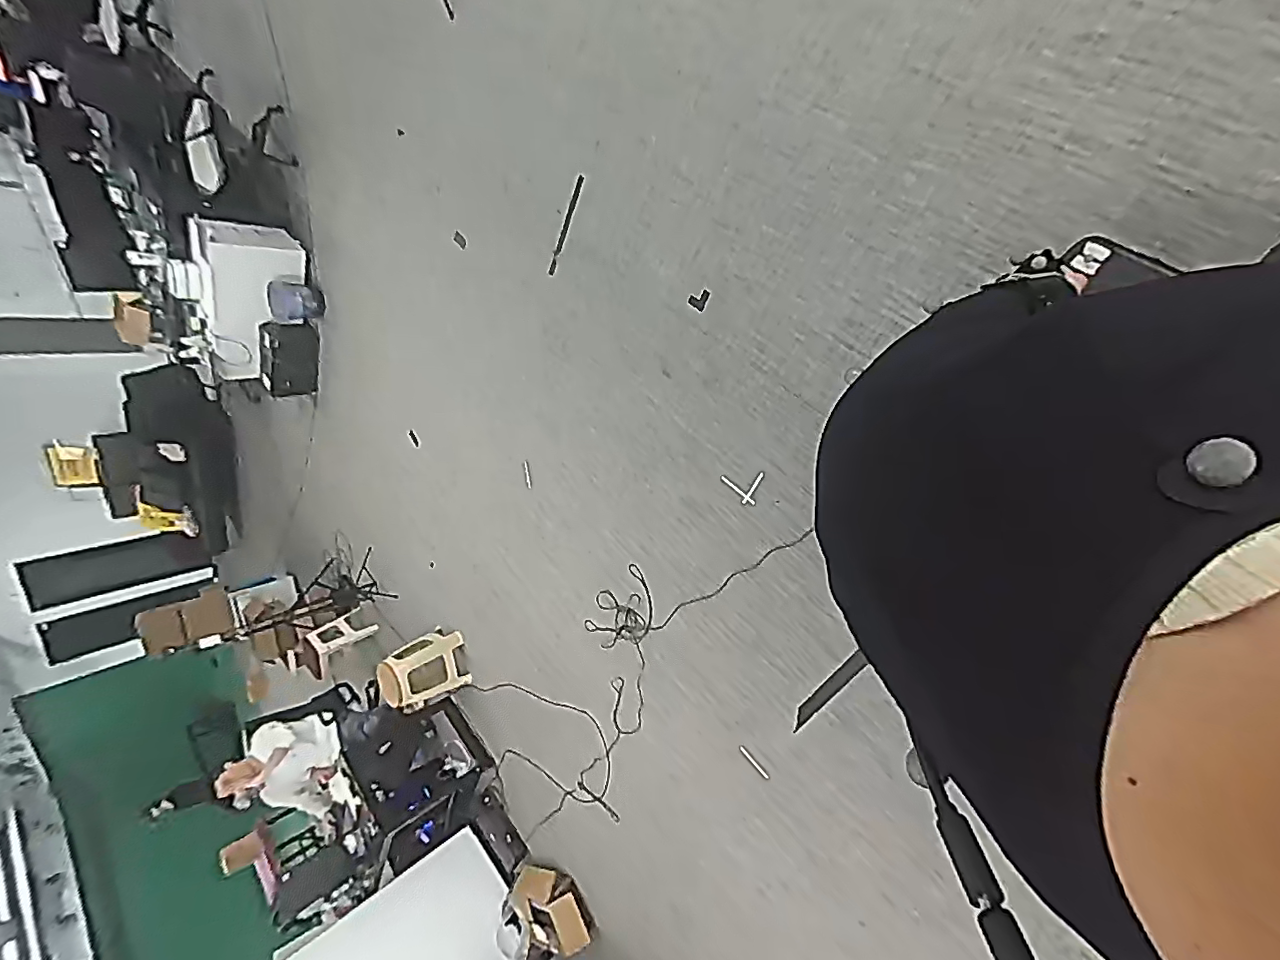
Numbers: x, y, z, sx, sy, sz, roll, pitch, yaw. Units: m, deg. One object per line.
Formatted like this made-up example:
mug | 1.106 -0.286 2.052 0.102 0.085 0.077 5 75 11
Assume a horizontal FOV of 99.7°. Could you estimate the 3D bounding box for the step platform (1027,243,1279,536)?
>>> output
step platform | 1.110 -0.146 0.998 0.684 0.204 0.286 48 128 23
